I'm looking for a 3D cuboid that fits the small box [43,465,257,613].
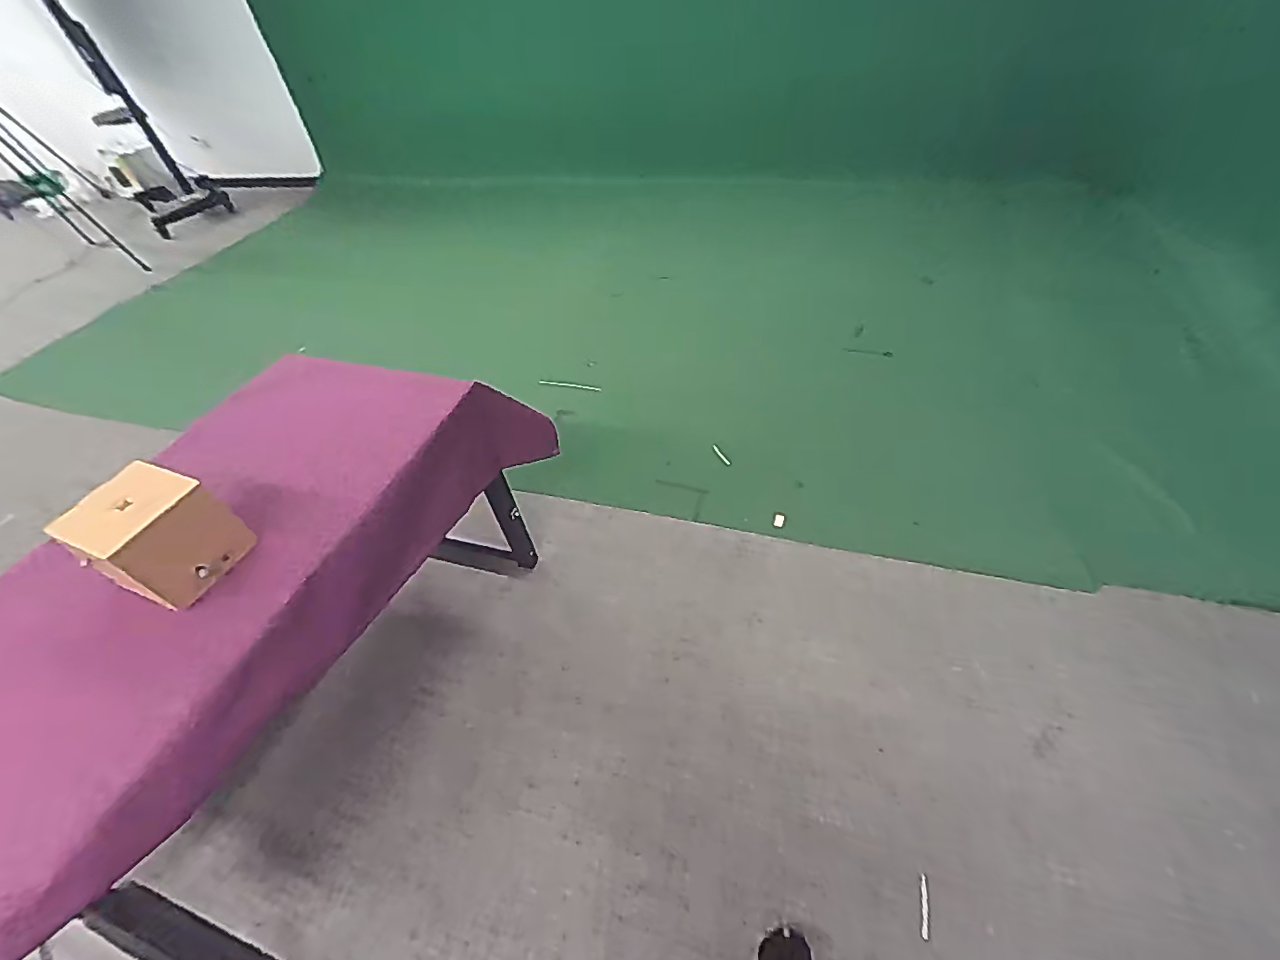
[{"bbox_3d":[-0.822,0.102,0.926,0.179,0.176,0.168,14,51,19],"label":"small box"}]
